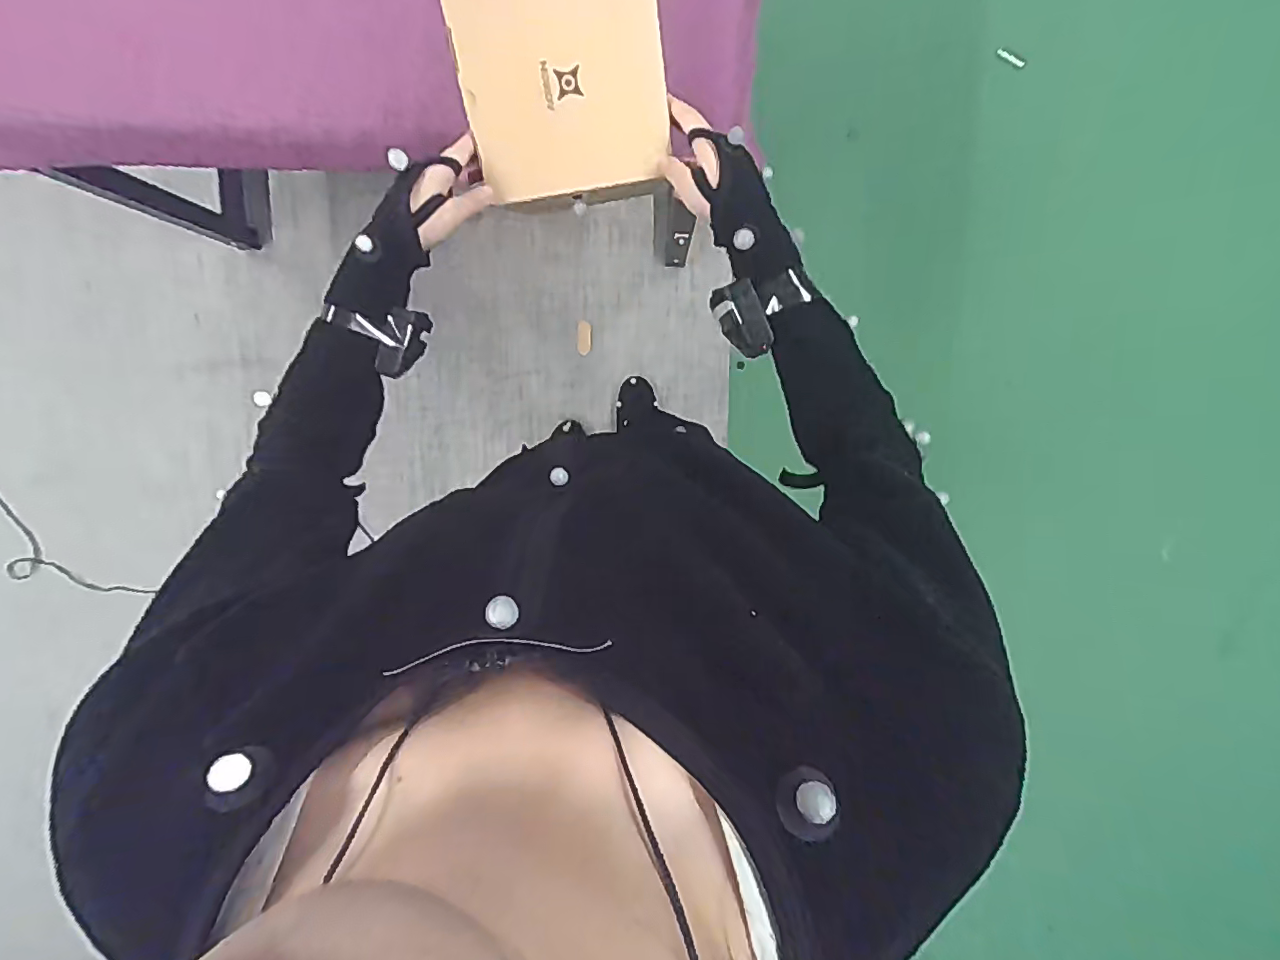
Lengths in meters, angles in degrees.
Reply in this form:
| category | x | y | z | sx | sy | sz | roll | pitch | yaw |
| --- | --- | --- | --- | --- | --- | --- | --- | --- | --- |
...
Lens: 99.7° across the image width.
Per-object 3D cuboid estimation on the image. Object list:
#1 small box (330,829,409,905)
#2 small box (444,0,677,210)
| category | x | y | z | sx | sy | sz | roll | pitch | yaw |
| --- | --- | --- | --- | --- | --- | --- | --- | --- | --- |
| small box | -0.794 | 1.153 | 1.575 | 0.179 | 0.176 | 0.168 | -8 | 97 | 2 |
| small box | -0.063 | -0.375 | 0.539 | 0.179 | 0.176 | 0.168 | -8 | 113 | 6 |
